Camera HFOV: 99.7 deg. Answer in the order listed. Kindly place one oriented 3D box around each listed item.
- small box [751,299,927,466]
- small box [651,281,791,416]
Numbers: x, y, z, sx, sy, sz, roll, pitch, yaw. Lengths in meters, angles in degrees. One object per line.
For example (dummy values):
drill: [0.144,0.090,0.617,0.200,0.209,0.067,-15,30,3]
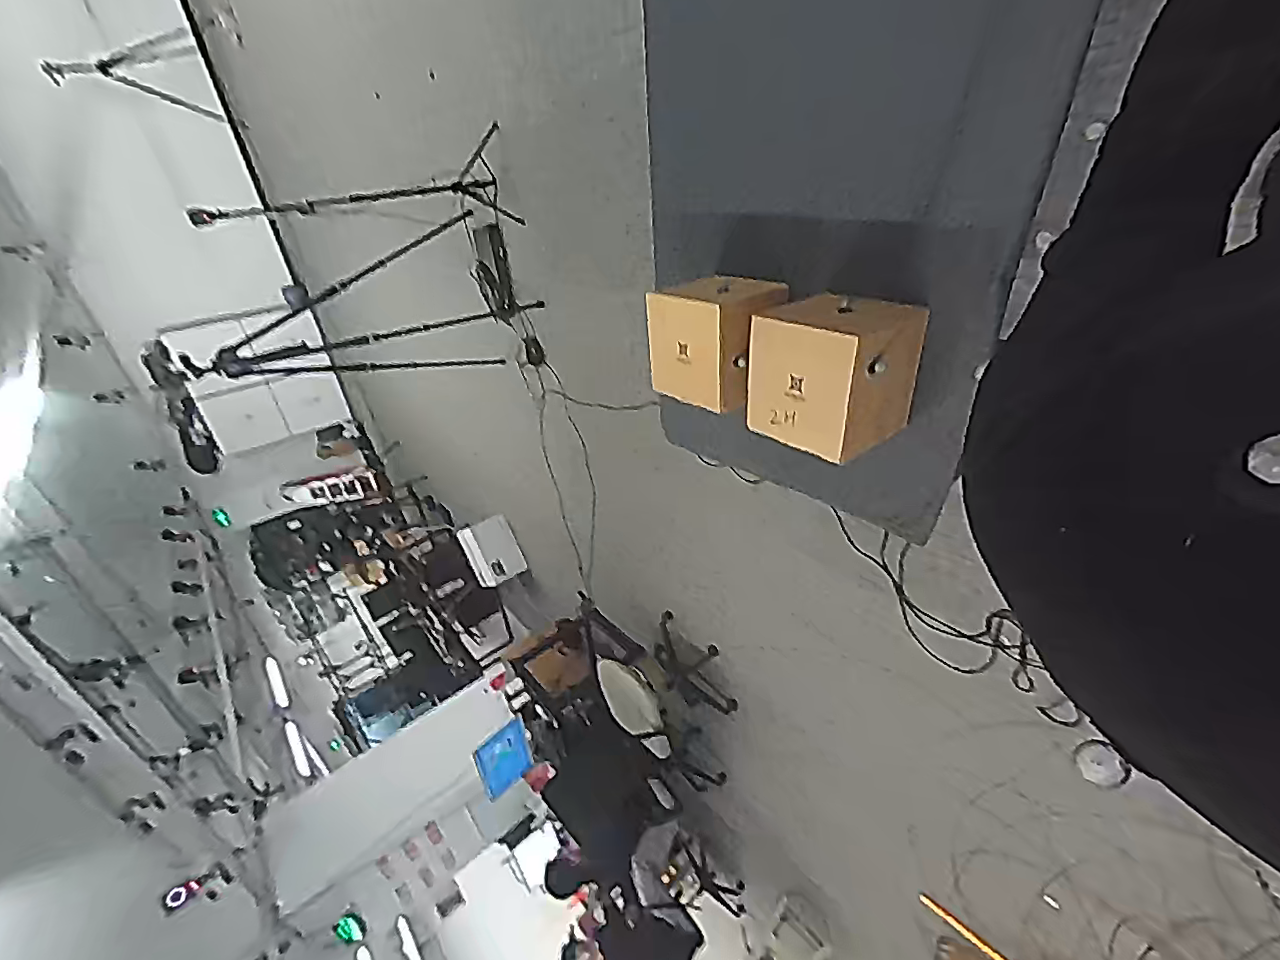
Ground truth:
small box: [0.280,-0.150,0.772,0.168,0.176,0.179,30,136,44]
small box: [0.141,-0.234,0.925,0.168,0.176,0.179,28,135,44]
